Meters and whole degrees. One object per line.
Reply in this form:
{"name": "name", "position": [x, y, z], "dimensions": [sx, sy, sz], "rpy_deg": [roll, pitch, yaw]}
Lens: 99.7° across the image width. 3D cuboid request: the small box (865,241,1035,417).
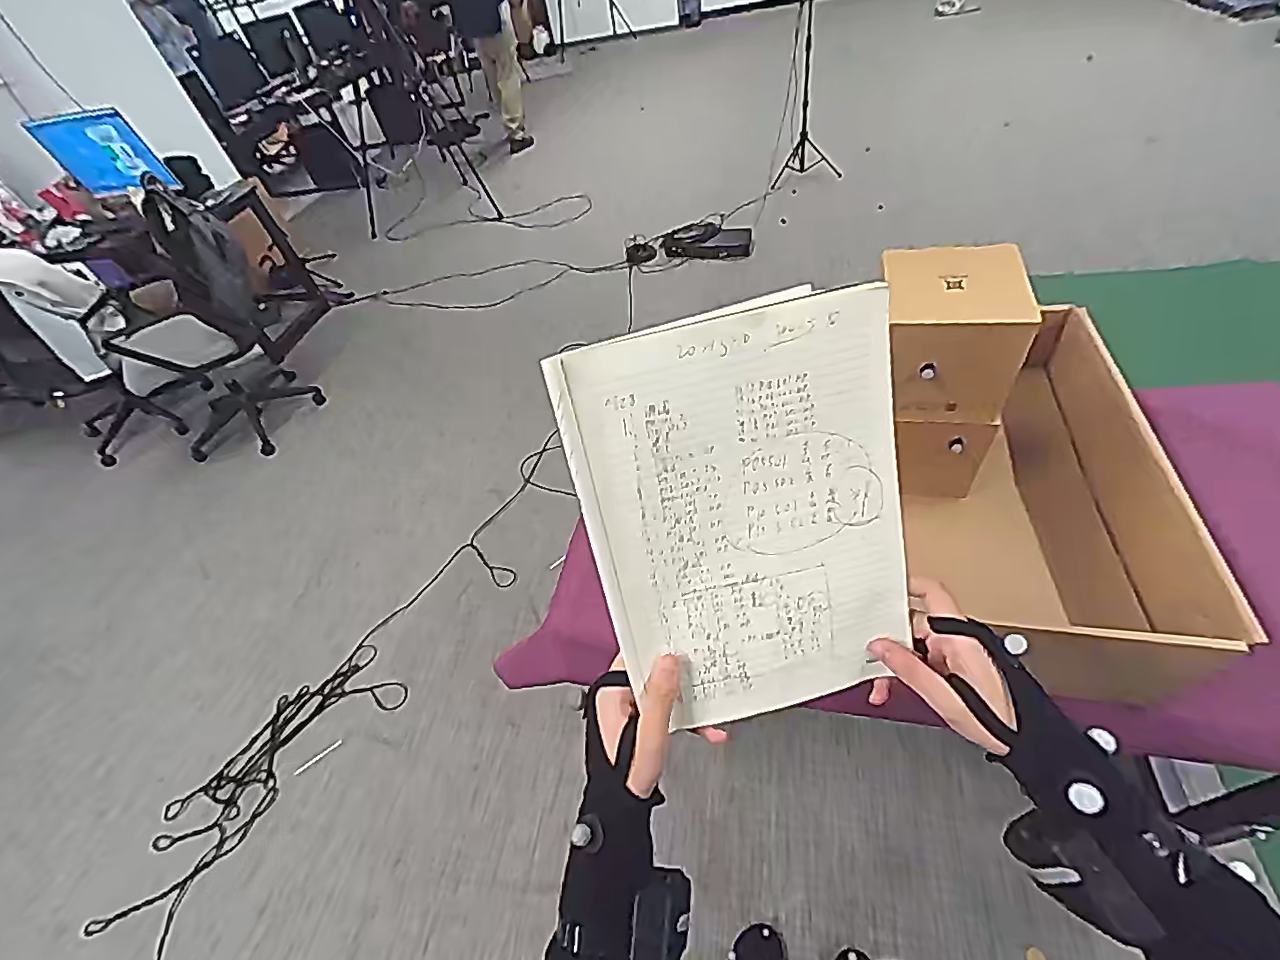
{"name": "small box", "position": [0.412, -0.204, 0.752], "dimensions": [0.168, 0.176, 0.179], "rpy_deg": [4, 51, 17]}
